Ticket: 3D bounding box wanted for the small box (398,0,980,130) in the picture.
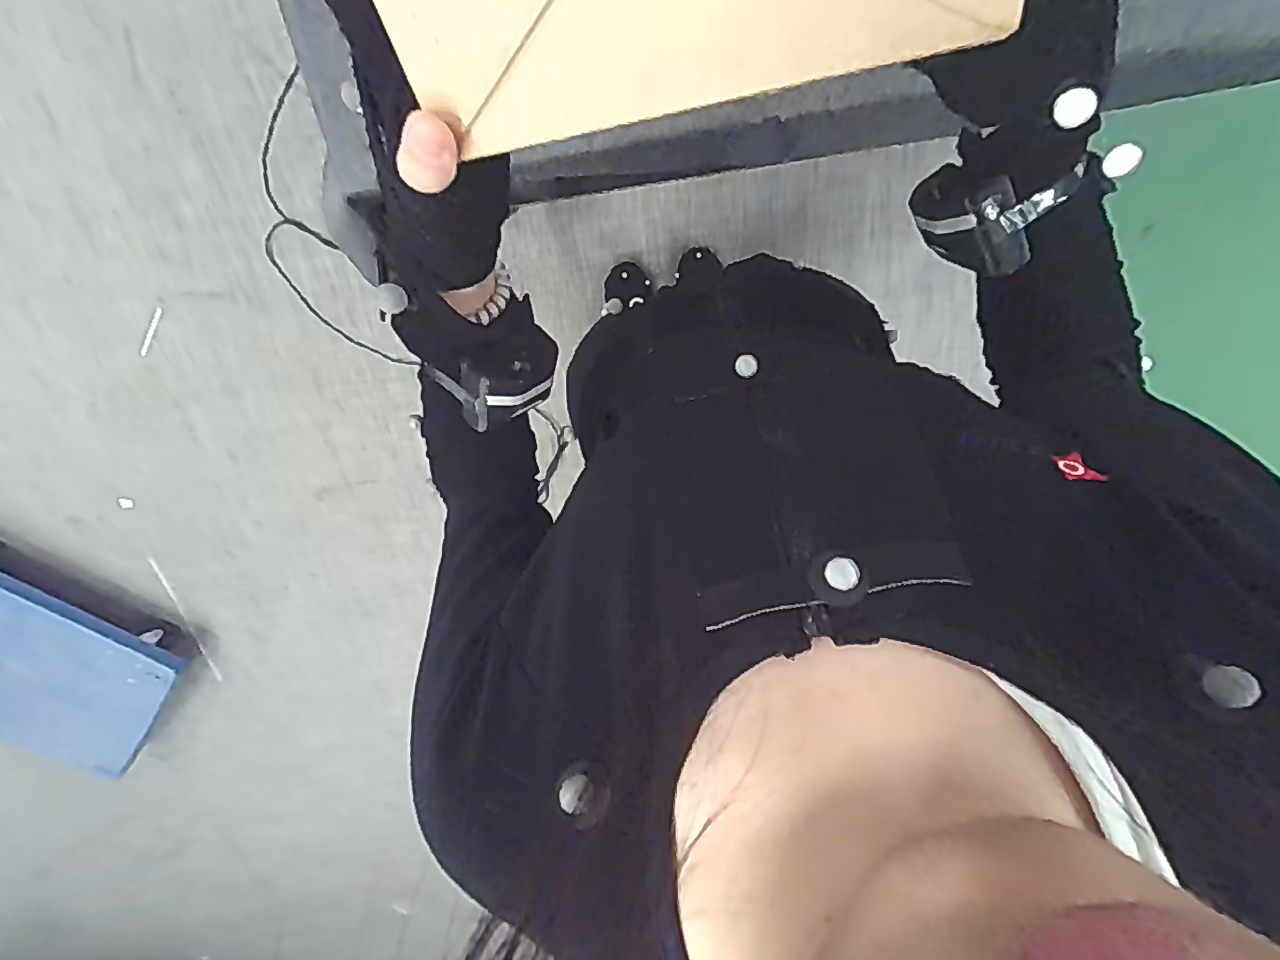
[{"bbox_3d":[0.015,-0.232,0.159,0.179,0.176,0.168,0,138,19],"label":"small box"}]
